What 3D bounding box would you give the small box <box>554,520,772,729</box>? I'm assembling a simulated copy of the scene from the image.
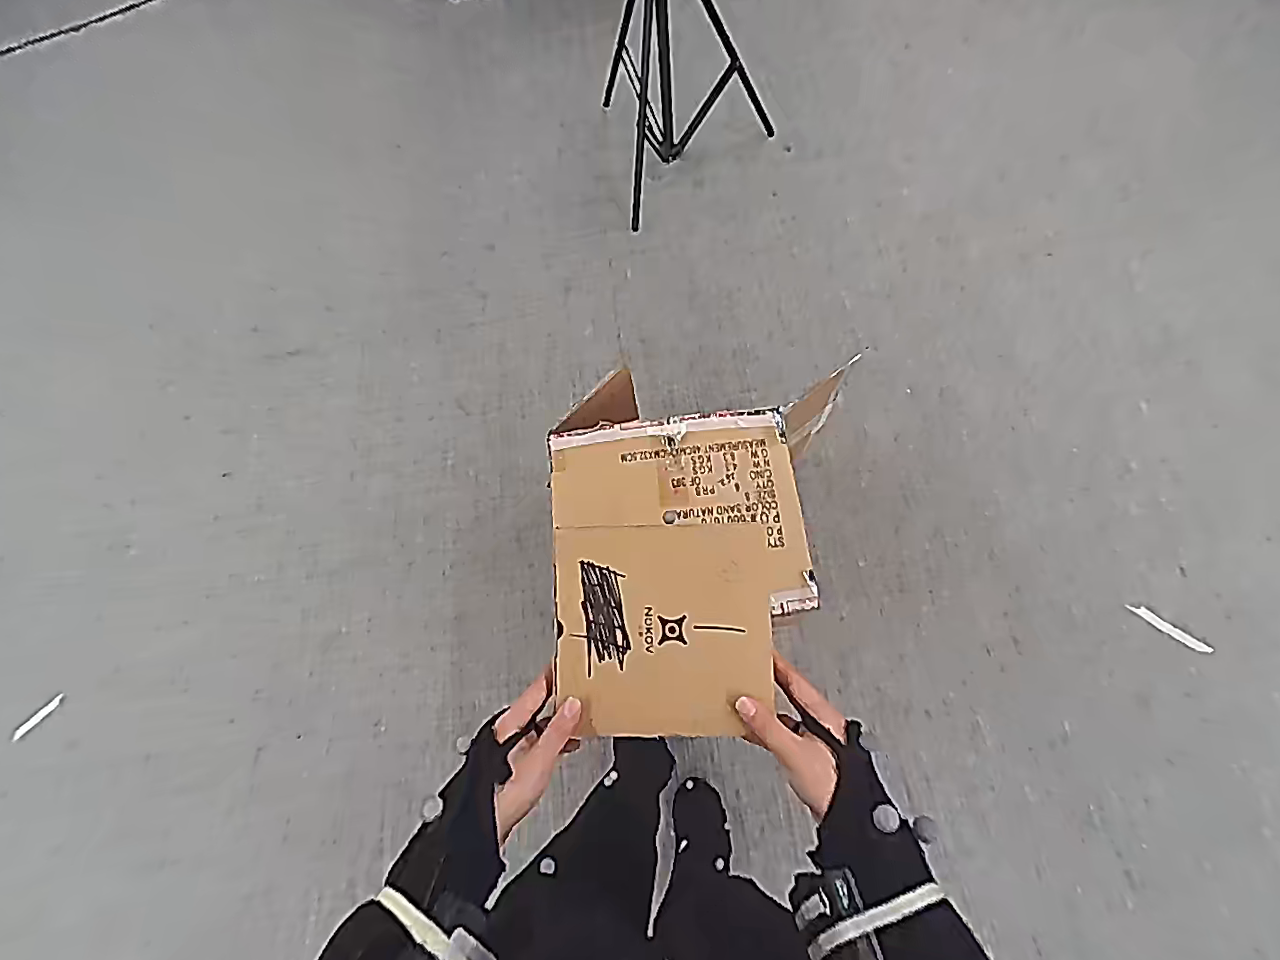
[{"bbox_3d":[0.022,0.126,0.518,0.179,0.176,0.168,-2,83,3],"label":"small box"}]
